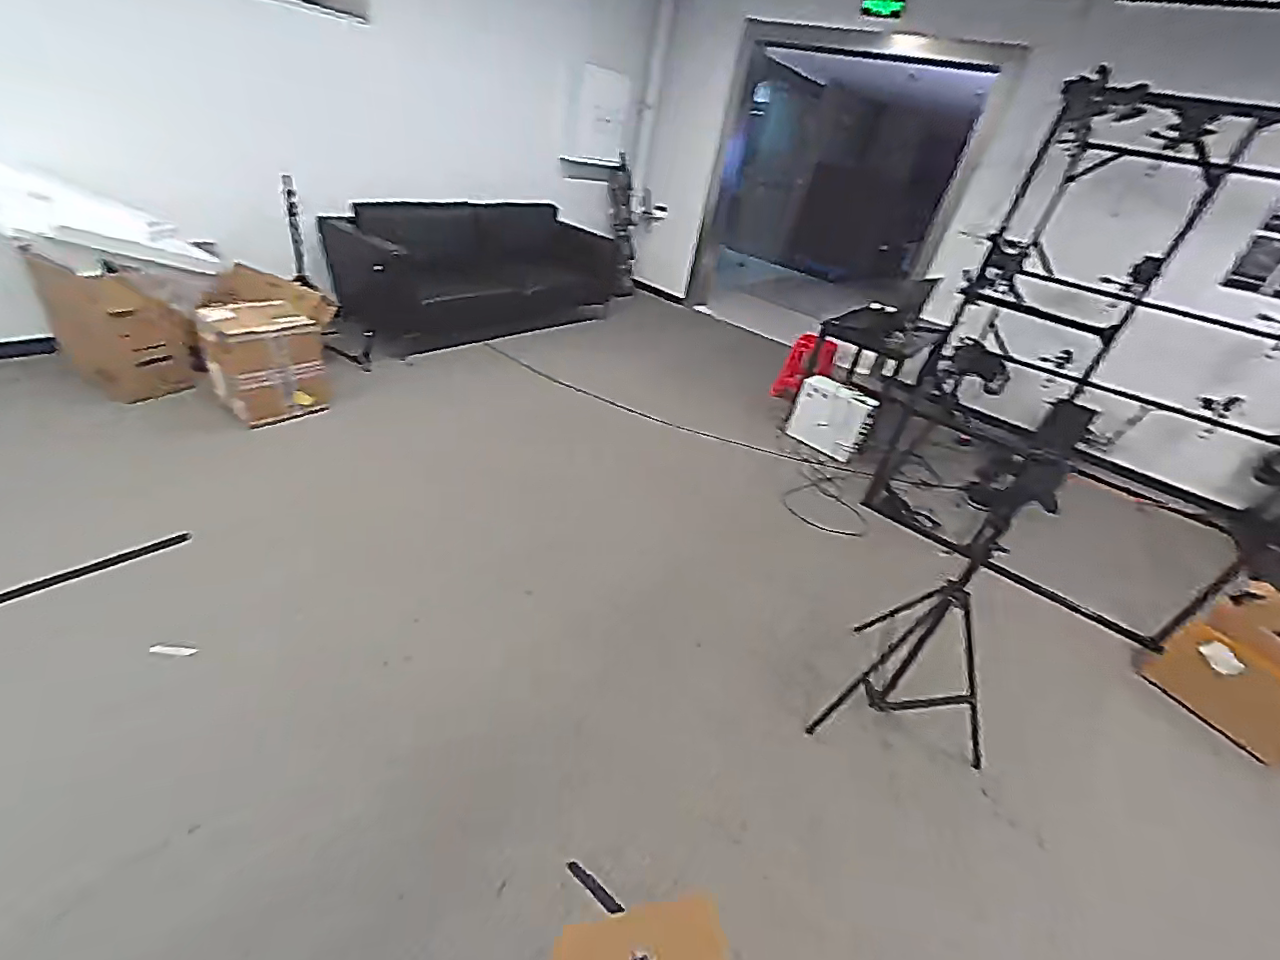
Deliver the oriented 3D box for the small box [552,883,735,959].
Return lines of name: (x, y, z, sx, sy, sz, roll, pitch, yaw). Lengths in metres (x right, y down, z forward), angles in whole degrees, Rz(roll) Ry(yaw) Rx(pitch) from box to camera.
small box: (0.011, 0.510, 0.499, 0.179, 0.176, 0.168, -13, 70, -2)
